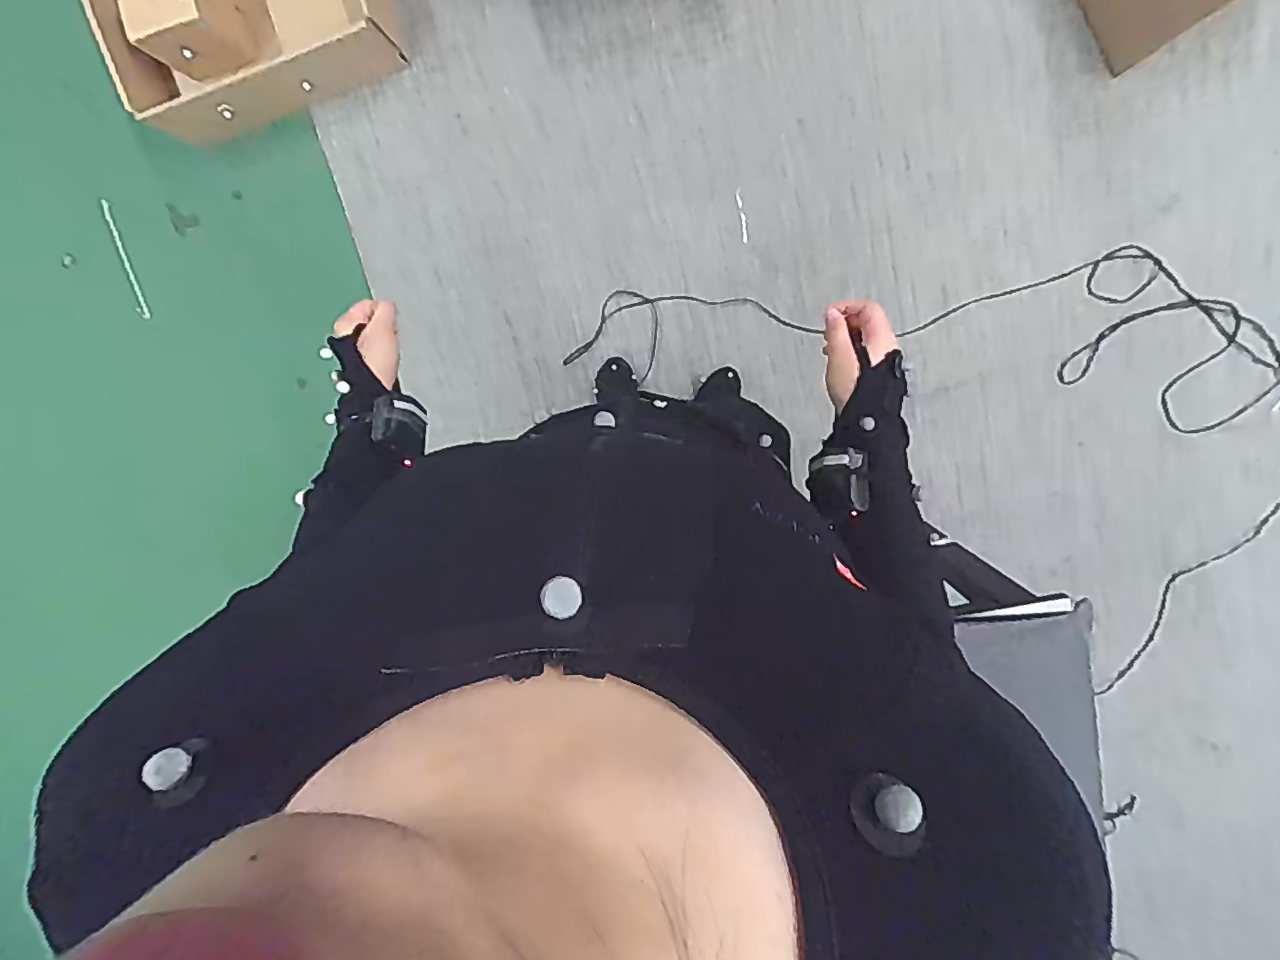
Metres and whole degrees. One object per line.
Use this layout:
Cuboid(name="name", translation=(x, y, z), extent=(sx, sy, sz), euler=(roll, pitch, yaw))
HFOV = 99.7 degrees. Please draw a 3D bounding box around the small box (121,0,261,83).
Cuboid(name="small box", translation=(-1.020, -1.050, 1.228), extent=(0.179, 0.176, 0.168), euler=(-13, 99, 7))
